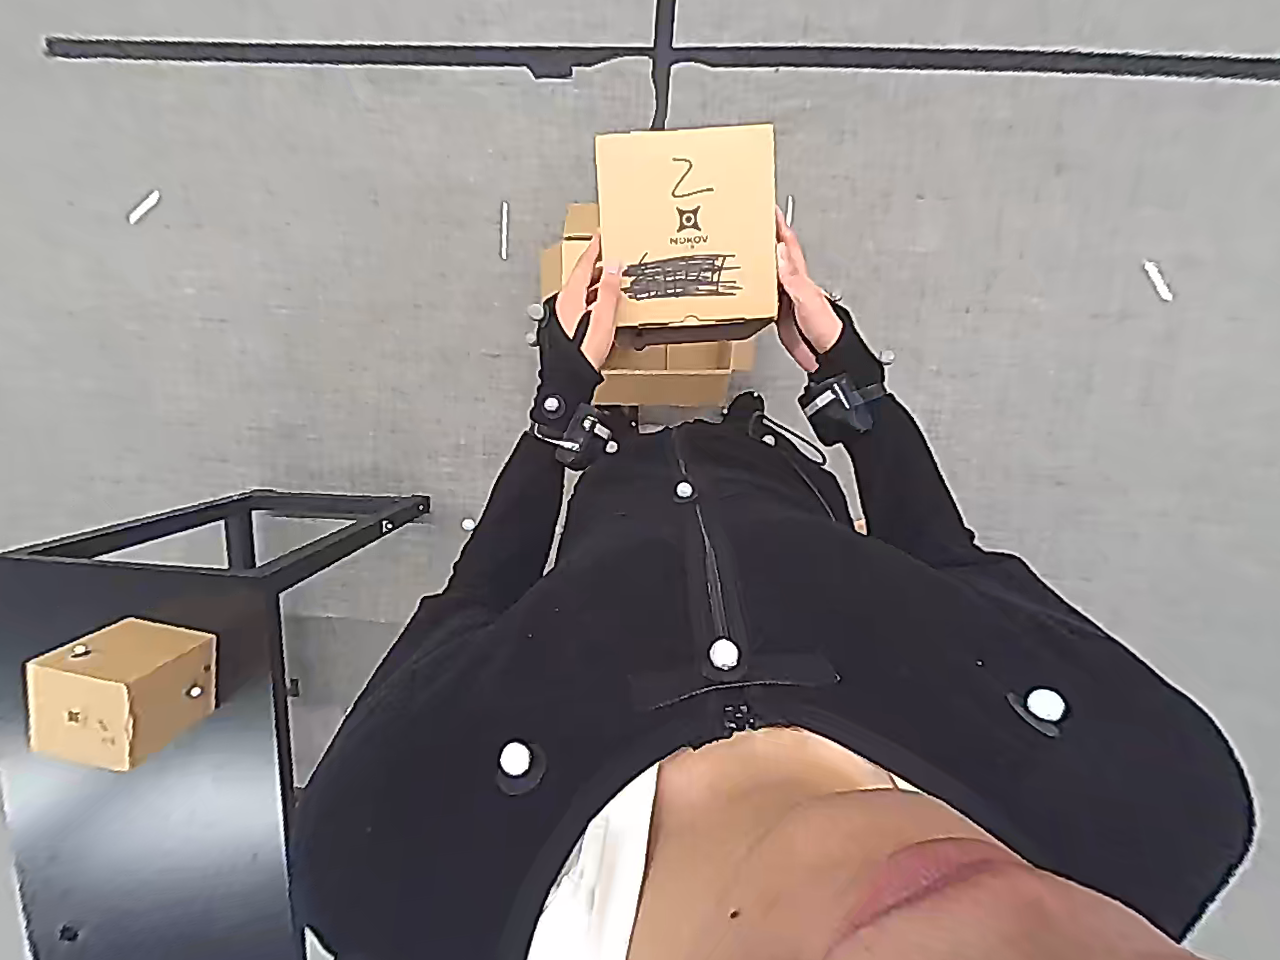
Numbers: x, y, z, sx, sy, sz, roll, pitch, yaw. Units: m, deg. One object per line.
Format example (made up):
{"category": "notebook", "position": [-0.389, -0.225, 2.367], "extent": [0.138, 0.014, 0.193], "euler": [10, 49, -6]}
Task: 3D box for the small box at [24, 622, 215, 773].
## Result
{"category": "small box", "position": [-0.897, 0.367, 0.944], "extent": [0.179, 0.176, 0.168], "euler": [11, 102, 2]}
